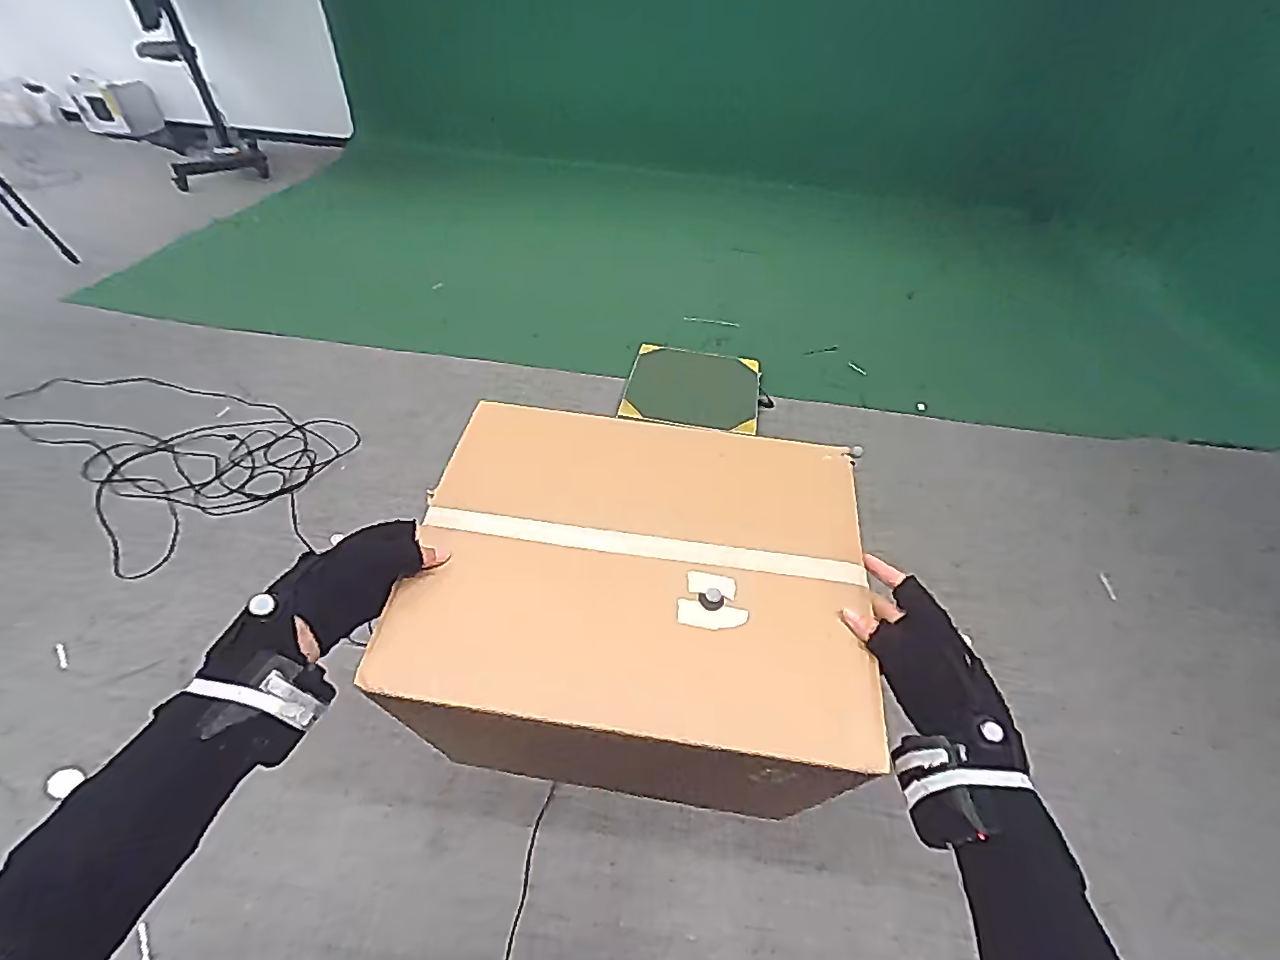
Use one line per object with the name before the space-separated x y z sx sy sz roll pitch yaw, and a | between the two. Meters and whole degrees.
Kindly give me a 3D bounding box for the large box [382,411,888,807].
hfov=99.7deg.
large box | 0.002 0.155 0.622 0.408 0.320 0.320 8 53 2
